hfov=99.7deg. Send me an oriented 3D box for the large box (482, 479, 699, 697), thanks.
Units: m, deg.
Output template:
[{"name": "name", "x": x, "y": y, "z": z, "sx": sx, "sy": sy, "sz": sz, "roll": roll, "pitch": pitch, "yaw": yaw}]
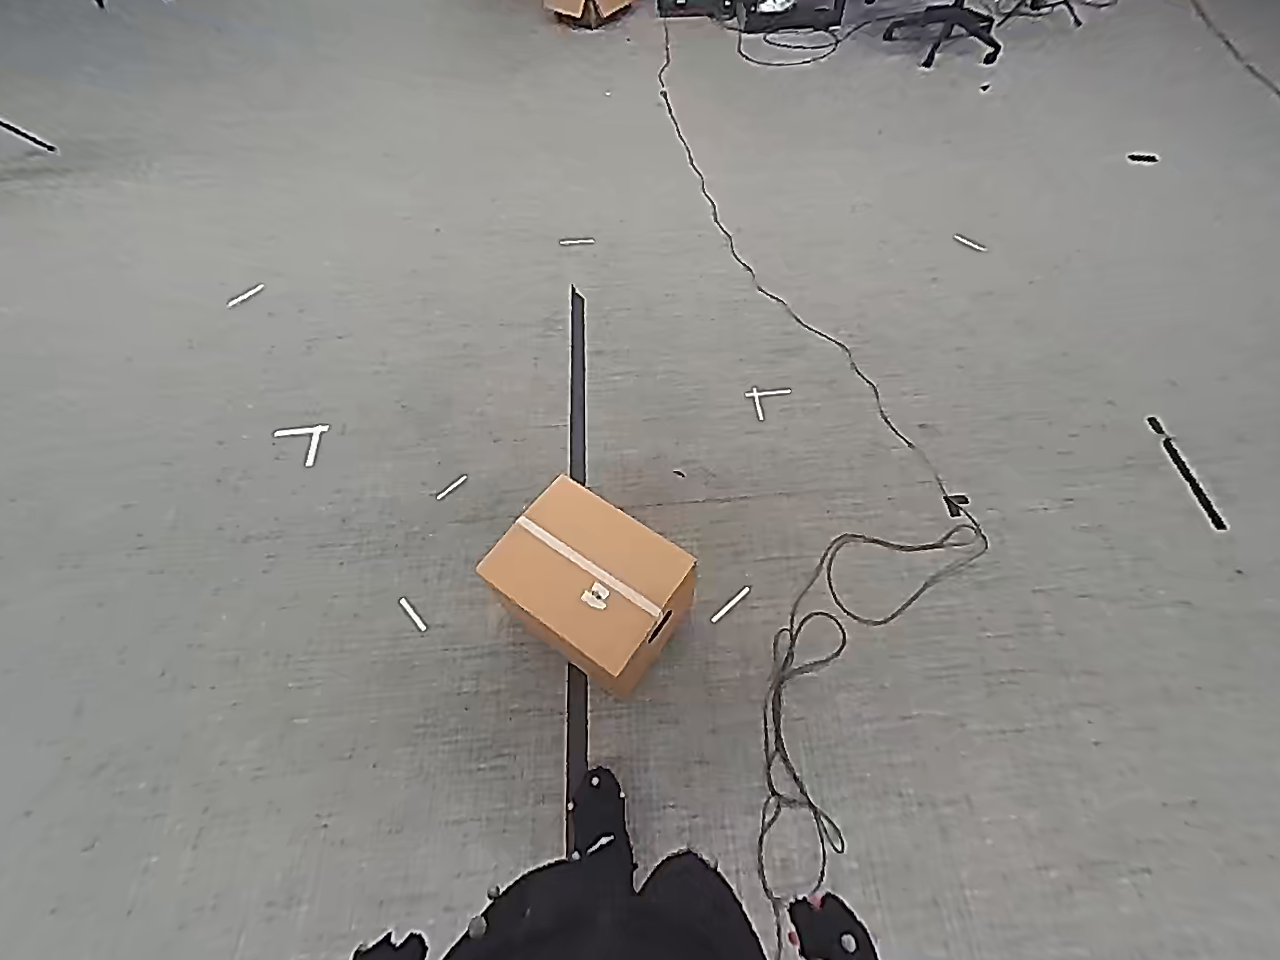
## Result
[{"name": "large box", "x": -0.114, "y": 0.272, "z": 1.351, "sx": 0.408, "sy": 0.320, "sz": 0.320, "roll": 31, "pitch": 65, "yaw": 18}]
